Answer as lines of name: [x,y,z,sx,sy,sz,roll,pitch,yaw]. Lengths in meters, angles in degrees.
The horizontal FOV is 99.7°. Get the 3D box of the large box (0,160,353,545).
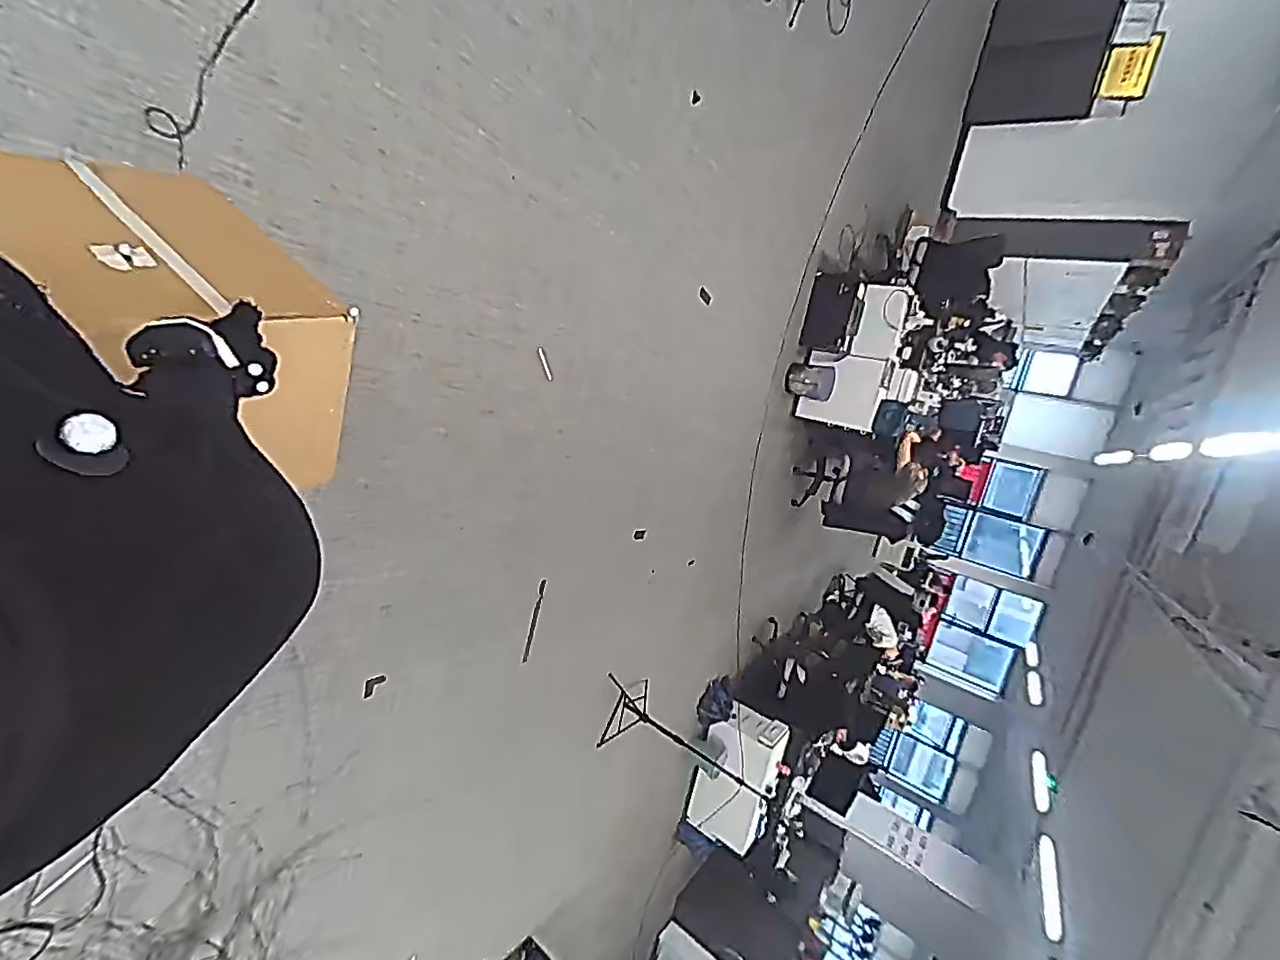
large box: [-0.691,-0.186,0.766,0.320,0.408,0.320,-30,156,-52]
